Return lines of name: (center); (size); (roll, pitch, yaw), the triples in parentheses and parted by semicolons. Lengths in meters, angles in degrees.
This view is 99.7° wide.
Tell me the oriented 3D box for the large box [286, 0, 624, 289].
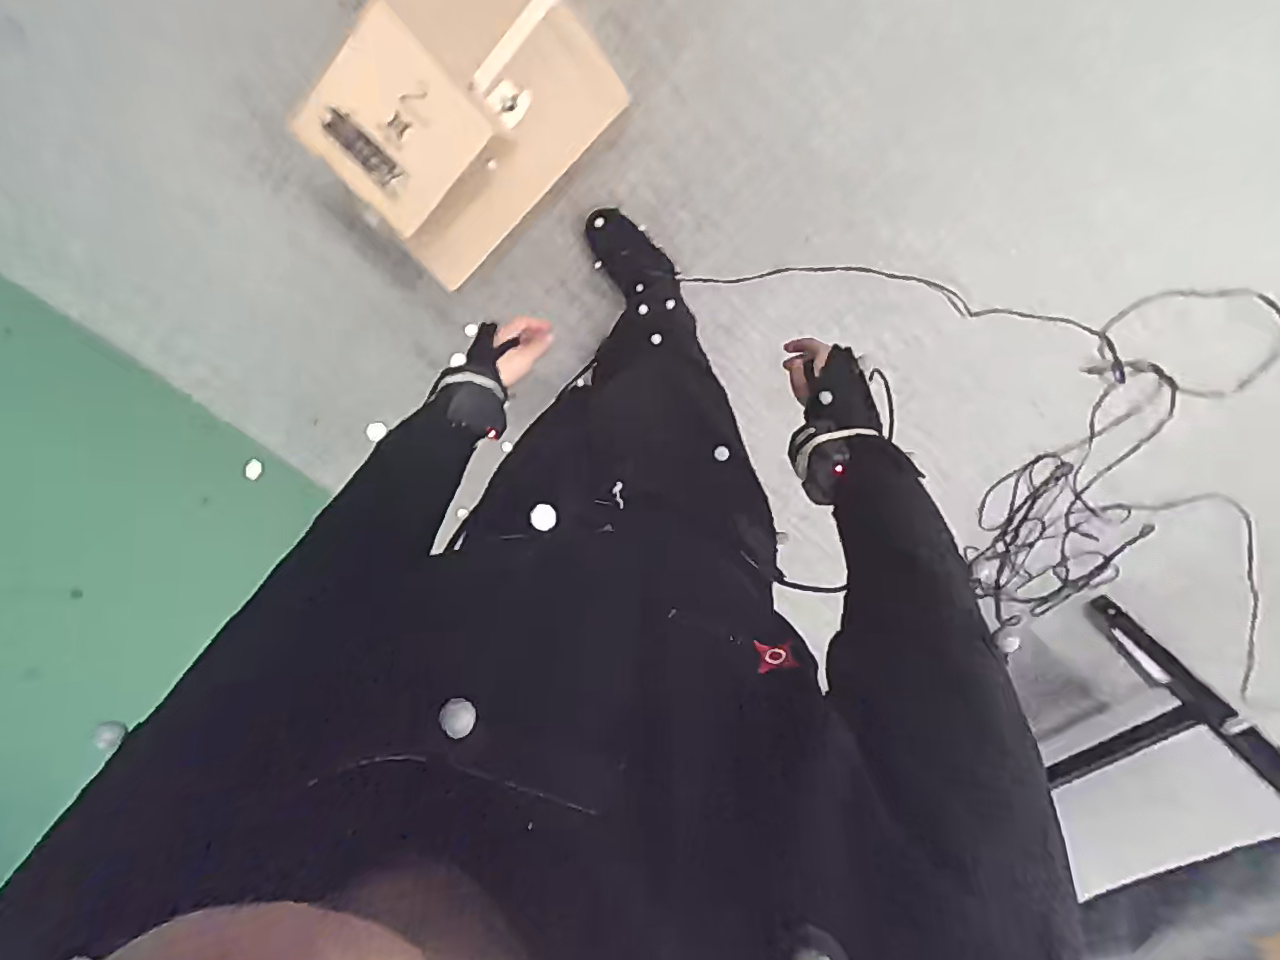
large box: (-0.270, -0.595, 0.900); (0.408, 0.320, 0.320); (-39, 114, 18)
